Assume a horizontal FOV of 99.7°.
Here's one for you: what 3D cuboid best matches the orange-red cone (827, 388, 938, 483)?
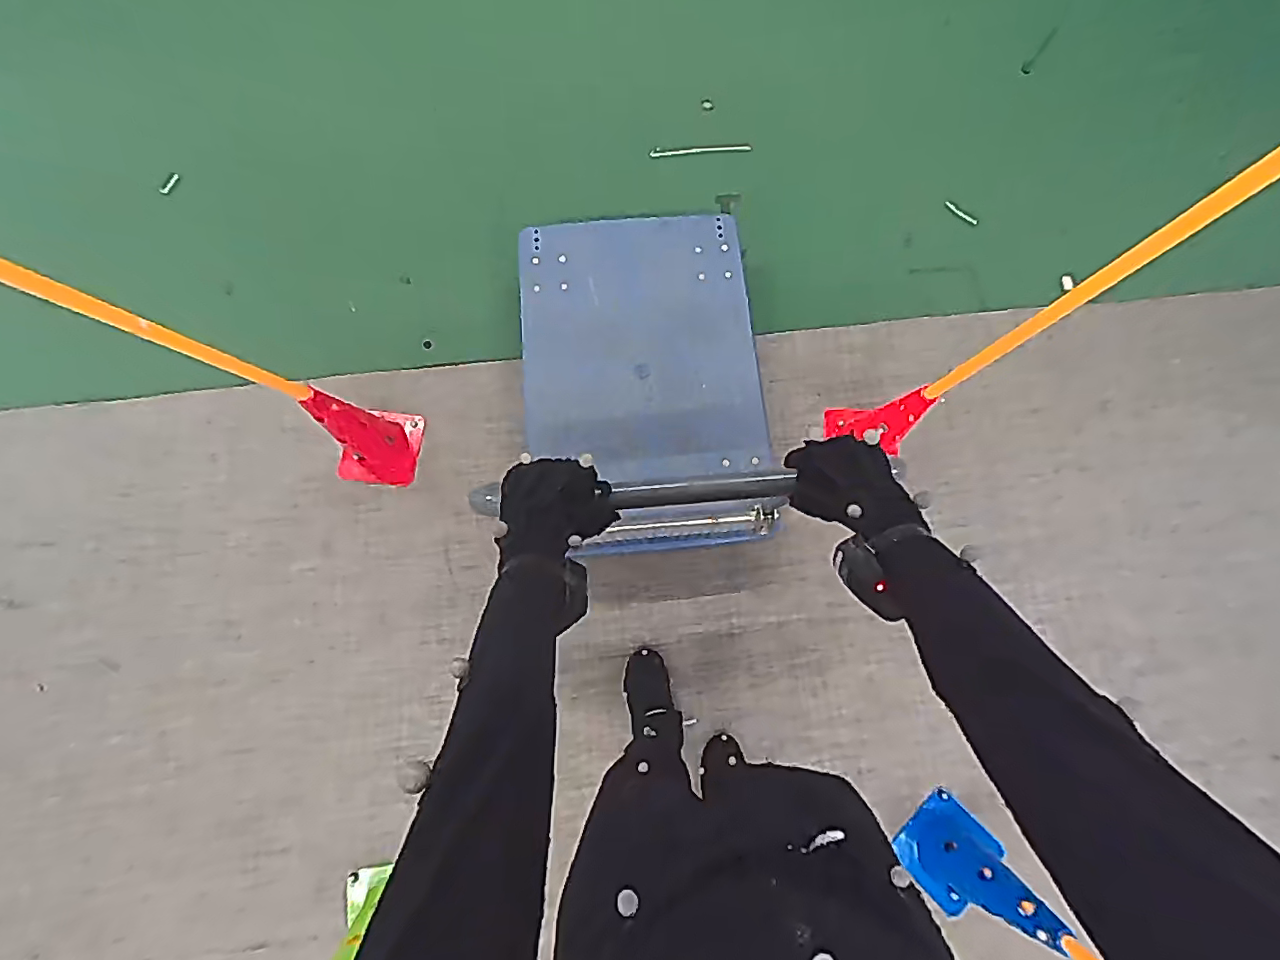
[{"bbox_3d":[0.608,-0.132,1.302,0.198,0.360,0.199,4,76,1],"label":"orange-red cone"}]
